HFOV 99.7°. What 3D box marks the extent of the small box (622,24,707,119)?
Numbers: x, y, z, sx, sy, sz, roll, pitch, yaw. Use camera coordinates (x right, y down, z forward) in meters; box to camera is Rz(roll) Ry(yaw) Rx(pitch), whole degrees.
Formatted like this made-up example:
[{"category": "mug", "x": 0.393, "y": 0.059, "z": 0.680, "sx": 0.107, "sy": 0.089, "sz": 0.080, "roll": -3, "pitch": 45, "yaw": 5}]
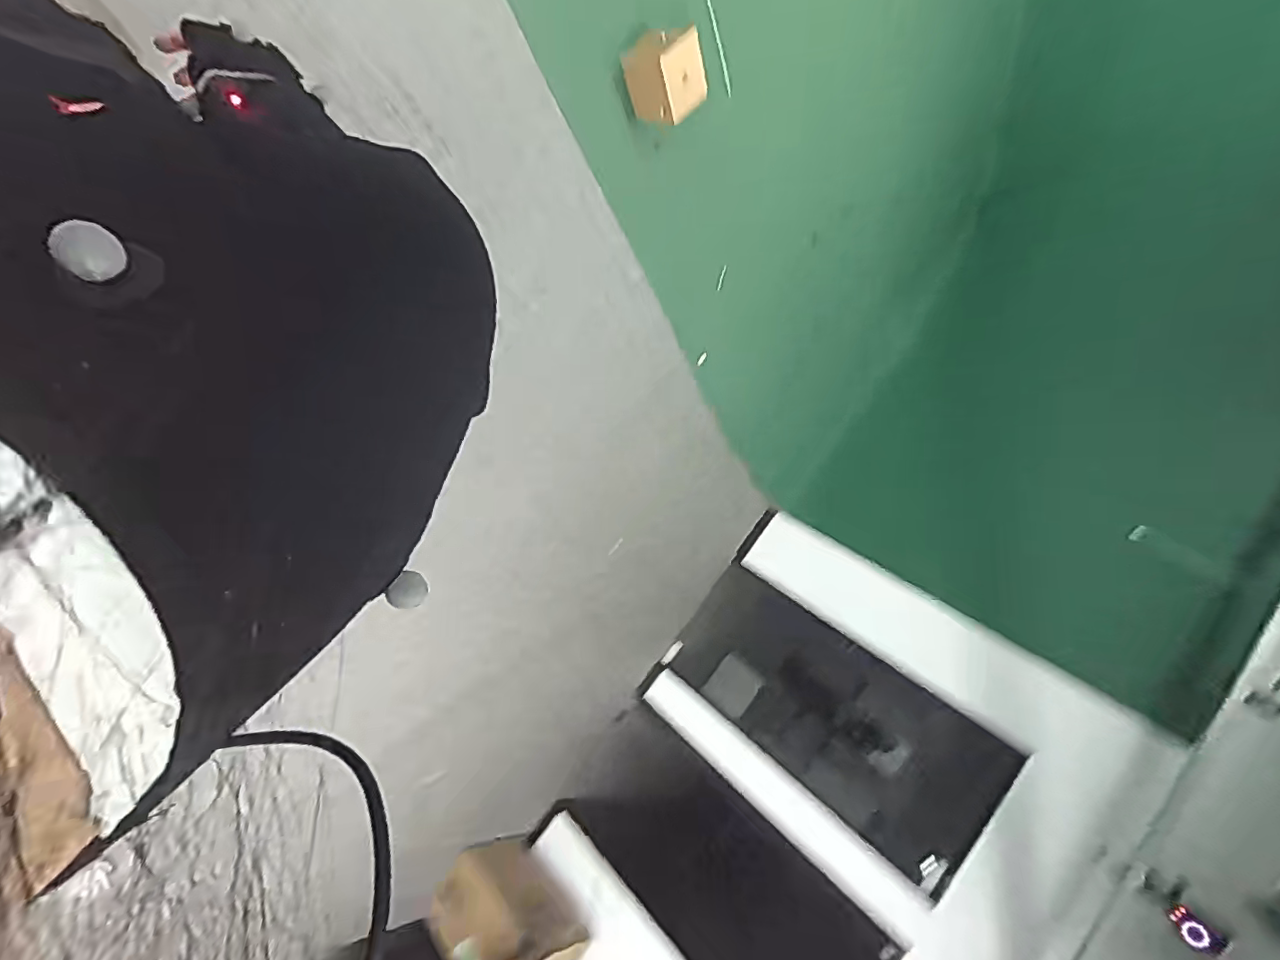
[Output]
[{"category": "small box", "x": 0.071, "y": -1.219, "z": 1.617, "sx": 0.168, "sy": 0.176, "sz": 0.179, "roll": -49, "pitch": 146, "yaw": -12}]
